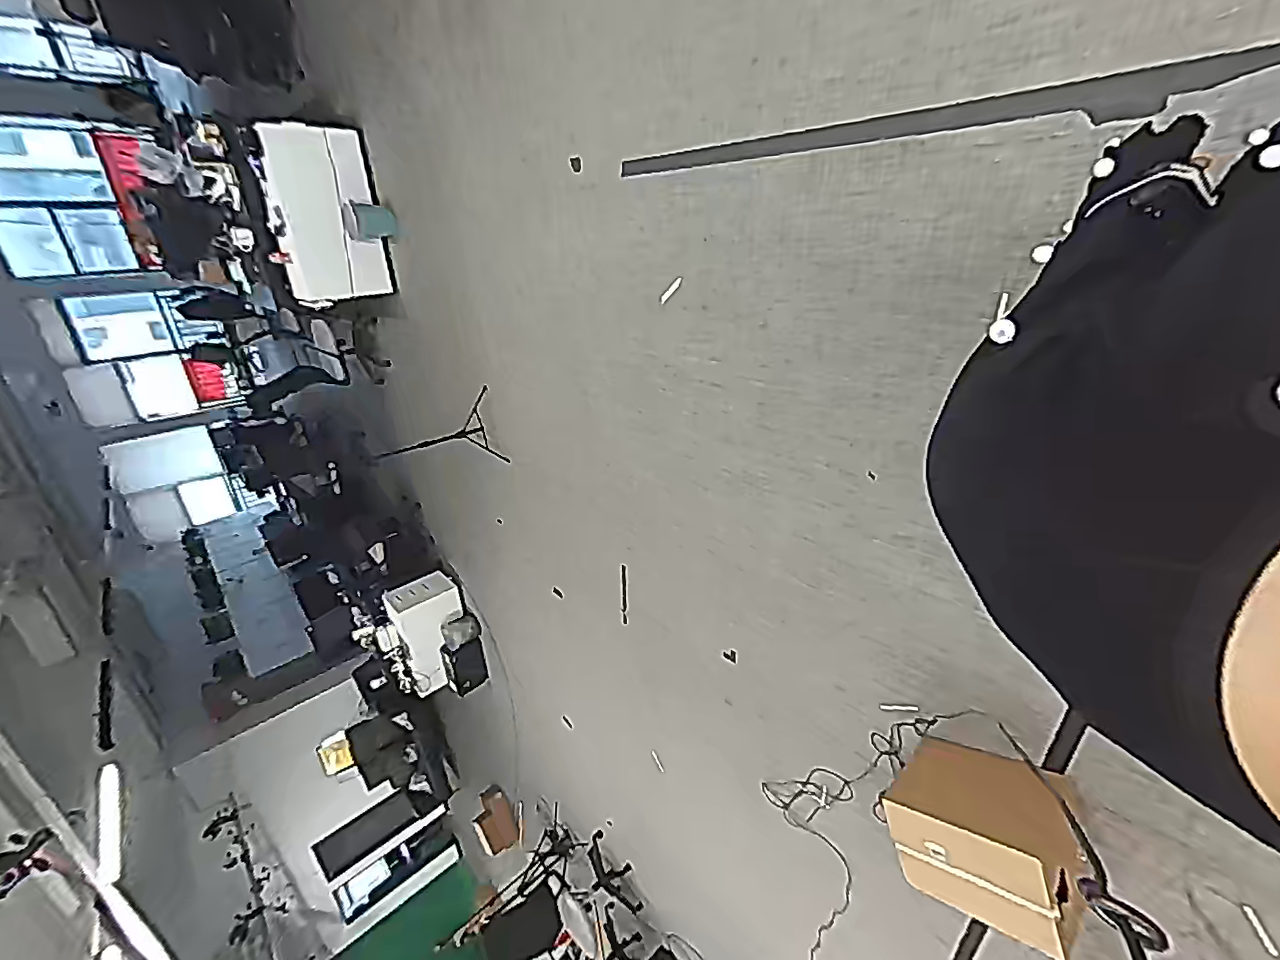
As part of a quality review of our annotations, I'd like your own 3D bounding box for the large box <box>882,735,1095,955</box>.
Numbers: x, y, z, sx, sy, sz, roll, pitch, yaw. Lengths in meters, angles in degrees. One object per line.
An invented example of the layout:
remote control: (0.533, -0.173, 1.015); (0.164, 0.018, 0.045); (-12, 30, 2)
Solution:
large box: (0.997, 1.006, 1.559); (0.408, 0.320, 0.320); (-8, 102, 53)
